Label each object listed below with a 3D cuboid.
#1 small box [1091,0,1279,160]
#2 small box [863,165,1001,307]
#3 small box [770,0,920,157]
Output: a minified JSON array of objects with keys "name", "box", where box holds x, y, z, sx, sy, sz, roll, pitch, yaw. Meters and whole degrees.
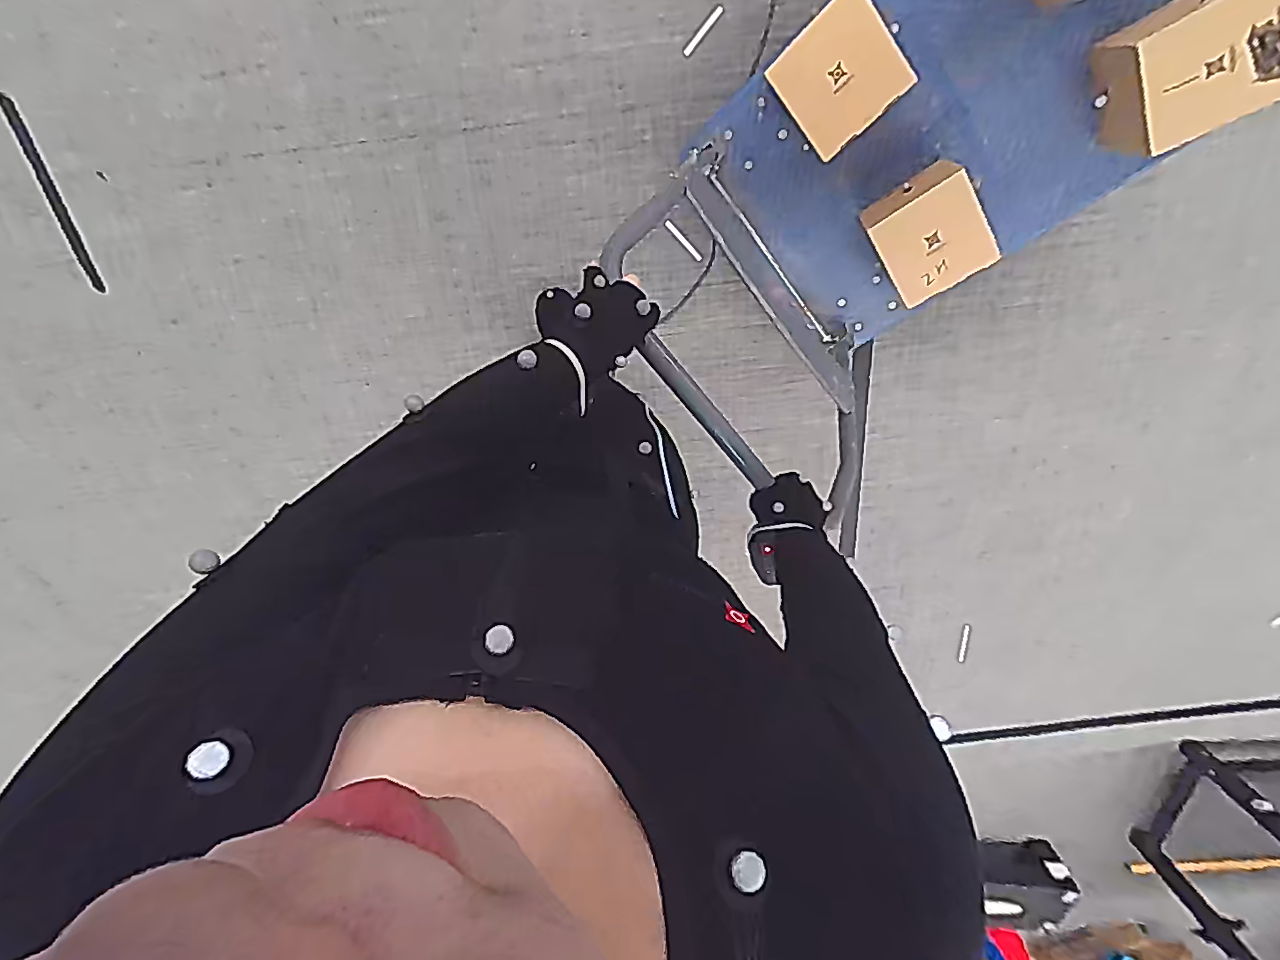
[{"name":"small box","box":[0.832,-0.623,0.818,0.179,0.176,0.168,-19,118,27]},{"name":"small box","box":[0.536,-0.463,1.015,0.168,0.176,0.179,-26,115,30]},{"name":"small box","box":[0.335,-0.685,0.911,0.168,0.176,0.179,-34,112,32]}]
